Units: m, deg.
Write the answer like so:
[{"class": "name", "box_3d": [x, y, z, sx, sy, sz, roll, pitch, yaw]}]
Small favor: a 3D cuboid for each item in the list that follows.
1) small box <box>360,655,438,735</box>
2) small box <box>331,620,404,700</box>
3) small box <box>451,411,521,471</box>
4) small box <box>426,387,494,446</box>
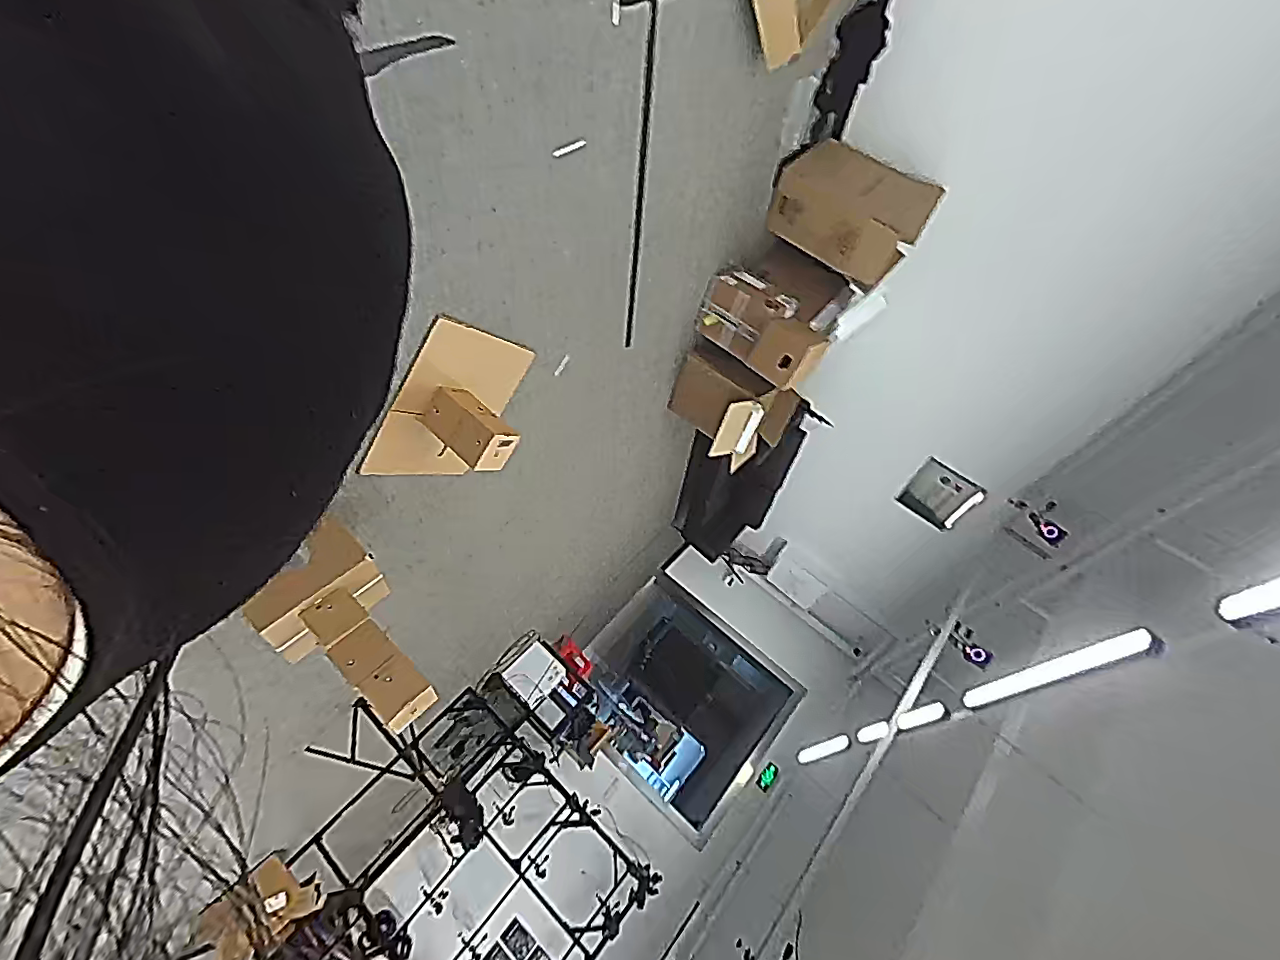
[{"class": "small box", "box_3d": [-0.817, 0.726, 1.839, 0.168, 0.176, 0.179, -40, 159, -32]}, {"class": "small box", "box_3d": [-0.940, 0.623, 1.878, 0.179, 0.176, 0.168, -42, 161, -30]}, {"class": "small box", "box_3d": [-0.614, -0.154, 2.146, 0.179, 0.176, 0.168, -55, 161, 15]}, {"class": "small box", "box_3d": [-0.736, -0.252, 2.197, 0.179, 0.176, 0.168, -55, 161, 16]}]
